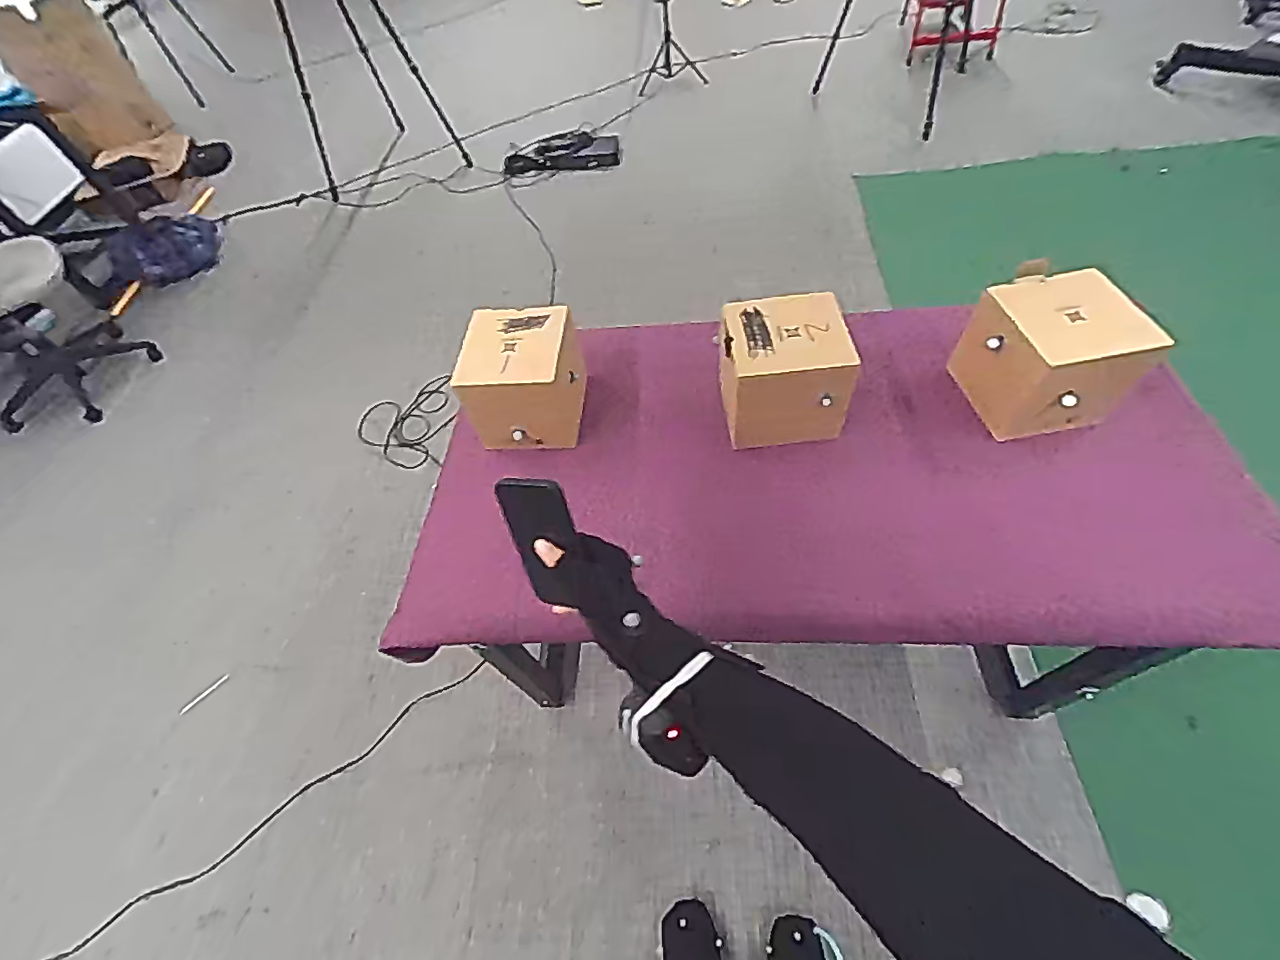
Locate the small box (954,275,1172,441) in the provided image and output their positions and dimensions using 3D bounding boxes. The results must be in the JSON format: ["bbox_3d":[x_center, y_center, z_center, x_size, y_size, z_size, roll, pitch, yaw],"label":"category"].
[{"bbox_3d":[0.618,-0.175,0.821,0.168,0.176,0.179,-10,54,1],"label":"small box"}]

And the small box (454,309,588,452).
[{"bbox_3d":[-0.190,-0.167,0.922,0.168,0.176,0.179,0,57,8],"label":"small box"}]
